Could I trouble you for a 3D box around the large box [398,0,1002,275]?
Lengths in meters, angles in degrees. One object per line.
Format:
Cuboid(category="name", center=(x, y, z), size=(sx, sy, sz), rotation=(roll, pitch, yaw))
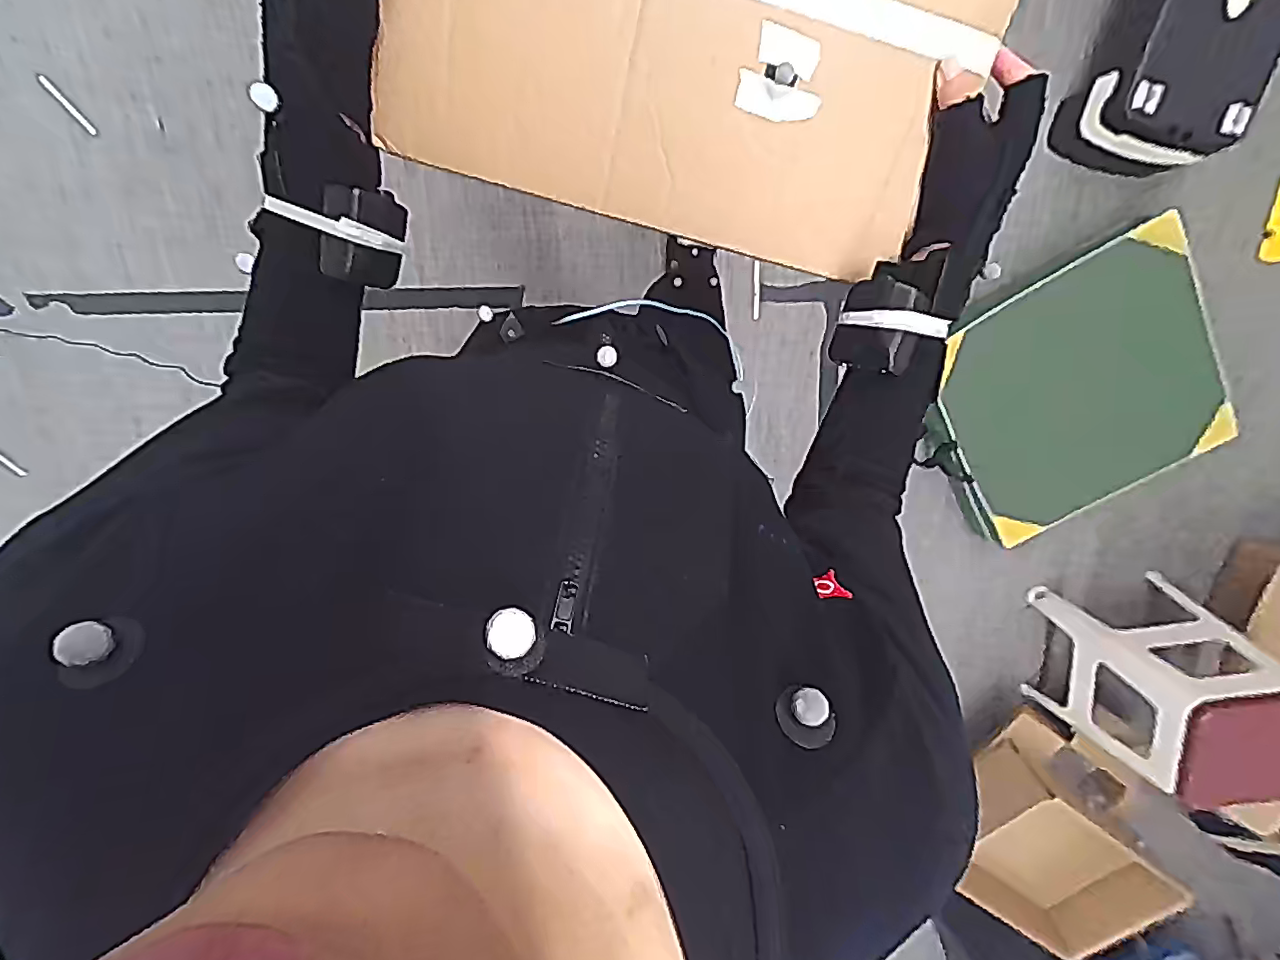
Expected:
Cuboid(category="large box", center=(0.041, -0.410, 0.489), size=(0.408, 0.320, 0.320), rotation=(12, 119, -9))
